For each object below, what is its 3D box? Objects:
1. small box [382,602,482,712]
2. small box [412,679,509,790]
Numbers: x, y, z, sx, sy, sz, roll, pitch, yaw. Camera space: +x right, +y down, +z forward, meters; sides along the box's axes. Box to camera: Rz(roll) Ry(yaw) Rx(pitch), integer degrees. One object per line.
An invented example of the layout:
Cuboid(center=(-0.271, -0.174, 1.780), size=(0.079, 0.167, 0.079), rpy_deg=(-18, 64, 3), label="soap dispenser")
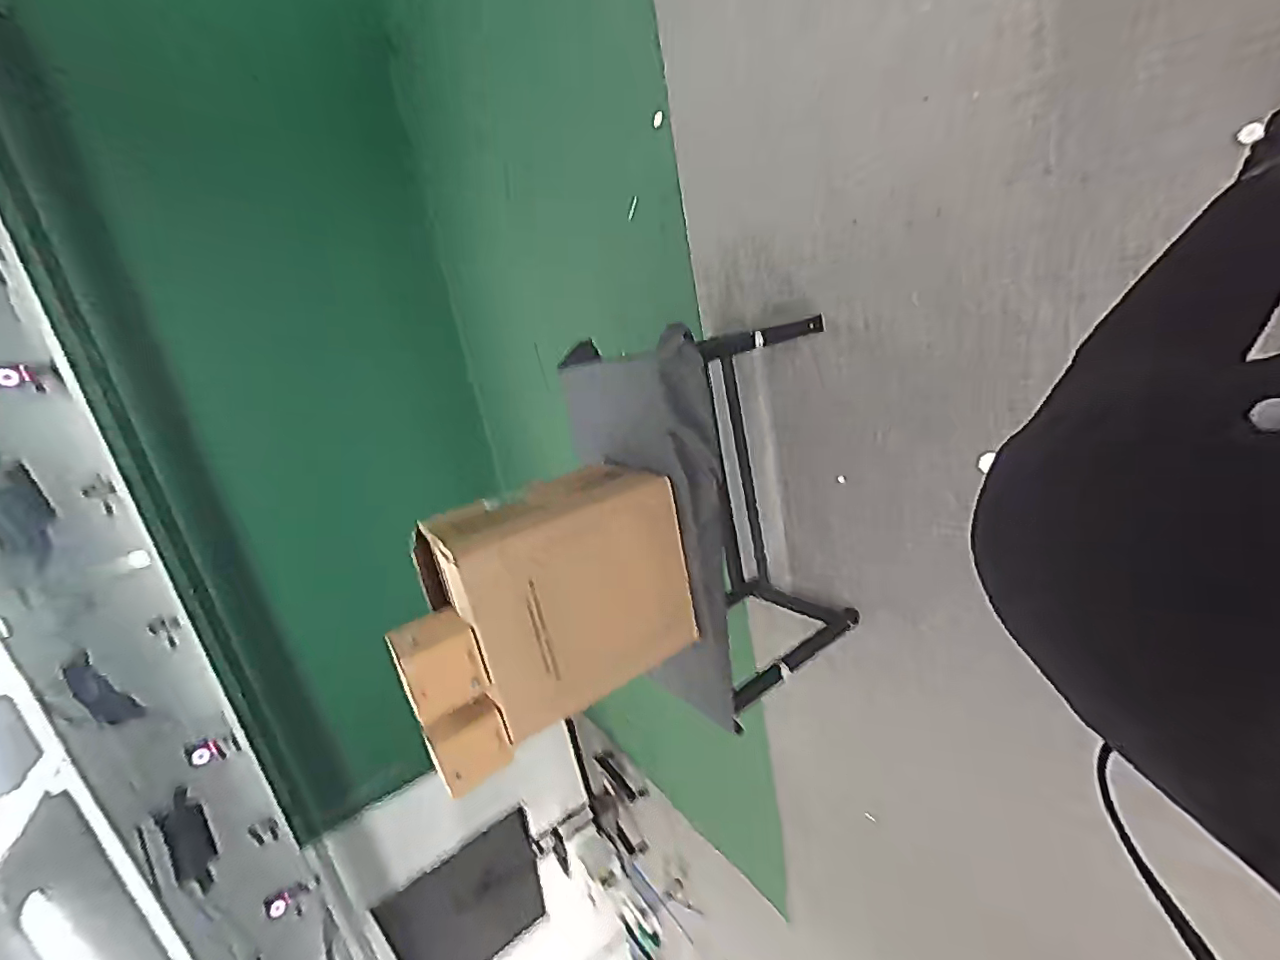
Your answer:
Cuboid(center=(-0.502, 0.420, 1.320), size=(0.179, 0.176, 0.168), rpy_deg=(13, 119, 55), label="small box")
Cuboid(center=(-0.456, 0.631, 1.381), size=(0.179, 0.176, 0.168), rpy_deg=(17, 125, 54), label="small box")
